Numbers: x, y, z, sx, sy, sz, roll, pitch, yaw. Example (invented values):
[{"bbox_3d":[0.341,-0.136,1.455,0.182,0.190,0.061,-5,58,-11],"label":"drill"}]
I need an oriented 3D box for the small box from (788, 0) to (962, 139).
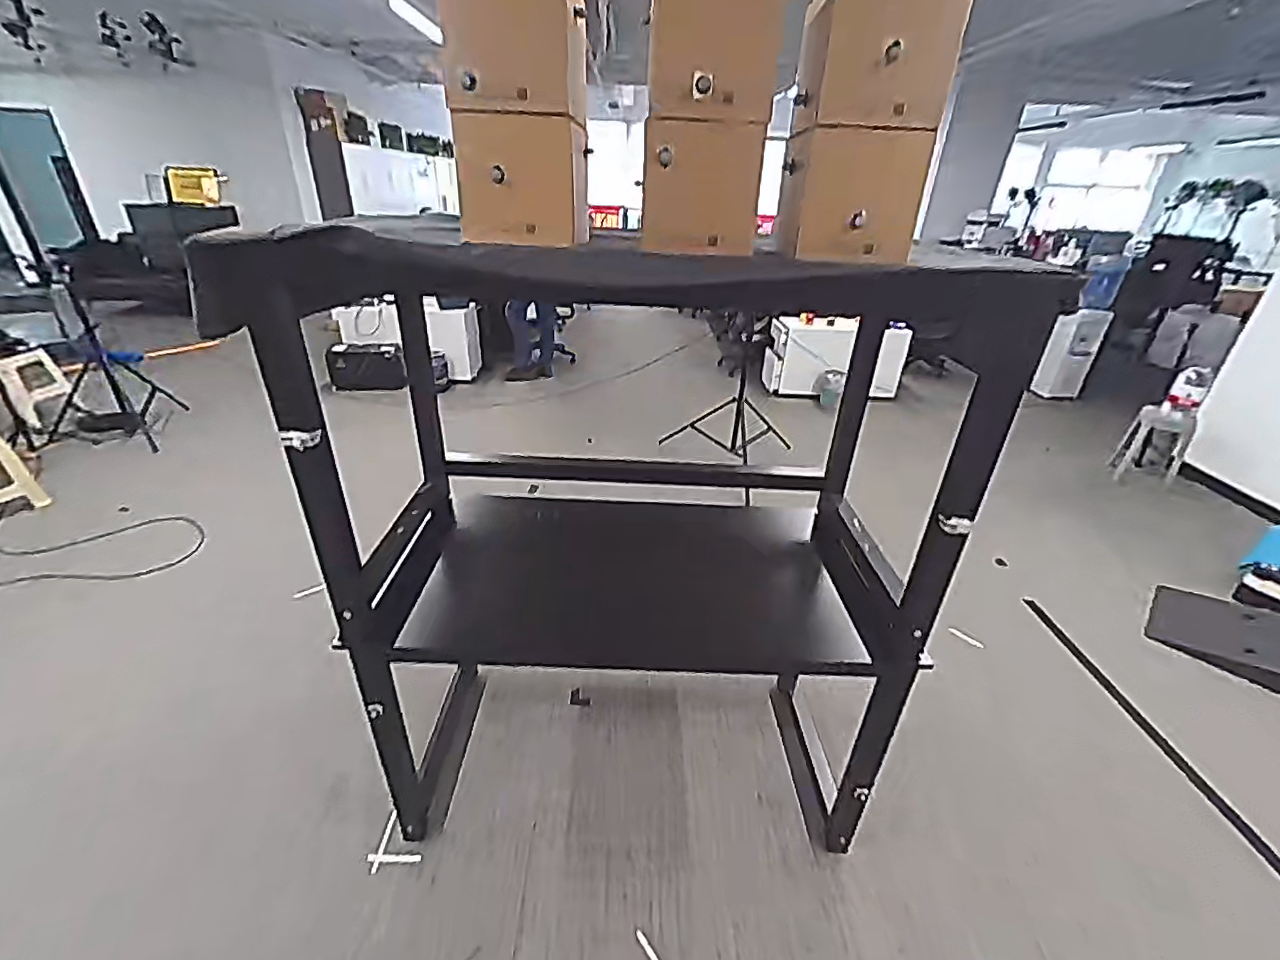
[{"bbox_3d":[0.313,-0.570,0.748,0.168,0.176,0.179,3,28,1],"label":"small box"}]

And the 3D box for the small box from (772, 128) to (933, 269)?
[{"bbox_3d":[0.306,-0.423,0.822,0.168,0.176,0.179,2,27,1],"label":"small box"}]

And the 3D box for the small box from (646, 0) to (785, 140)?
[{"bbox_3d":[0.094,-0.581,0.756,0.168,0.176,0.179,1,27,-1],"label":"small box"}]

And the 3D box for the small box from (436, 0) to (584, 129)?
[{"bbox_3d":[-0.170,-0.593,0.756,0.168,0.176,0.179,3,26,1],"label":"small box"}]

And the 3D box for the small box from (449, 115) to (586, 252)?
[{"bbox_3d":[-0.175,-0.449,0.833,0.168,0.176,0.179,3,27,1],"label":"small box"}]
